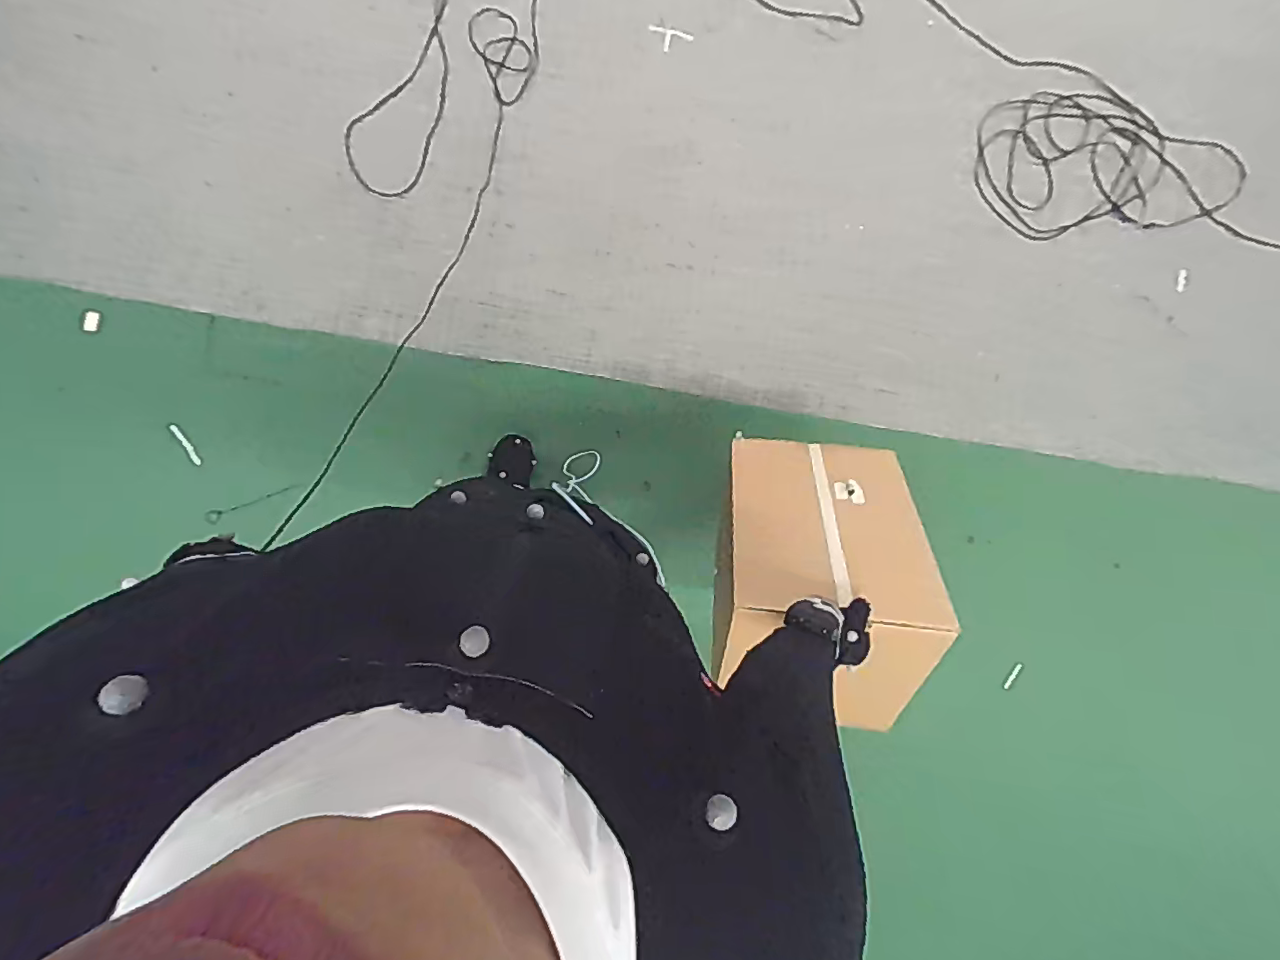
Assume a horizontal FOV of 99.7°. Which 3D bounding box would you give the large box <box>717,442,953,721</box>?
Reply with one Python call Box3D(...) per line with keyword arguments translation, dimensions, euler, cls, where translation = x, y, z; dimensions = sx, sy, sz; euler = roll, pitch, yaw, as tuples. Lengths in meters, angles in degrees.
Box3D(translation=(0.311, 0.180, 1.013), dimensions=(0.320, 0.408, 0.320), euler=(6, 132, 4), cls="large box")
